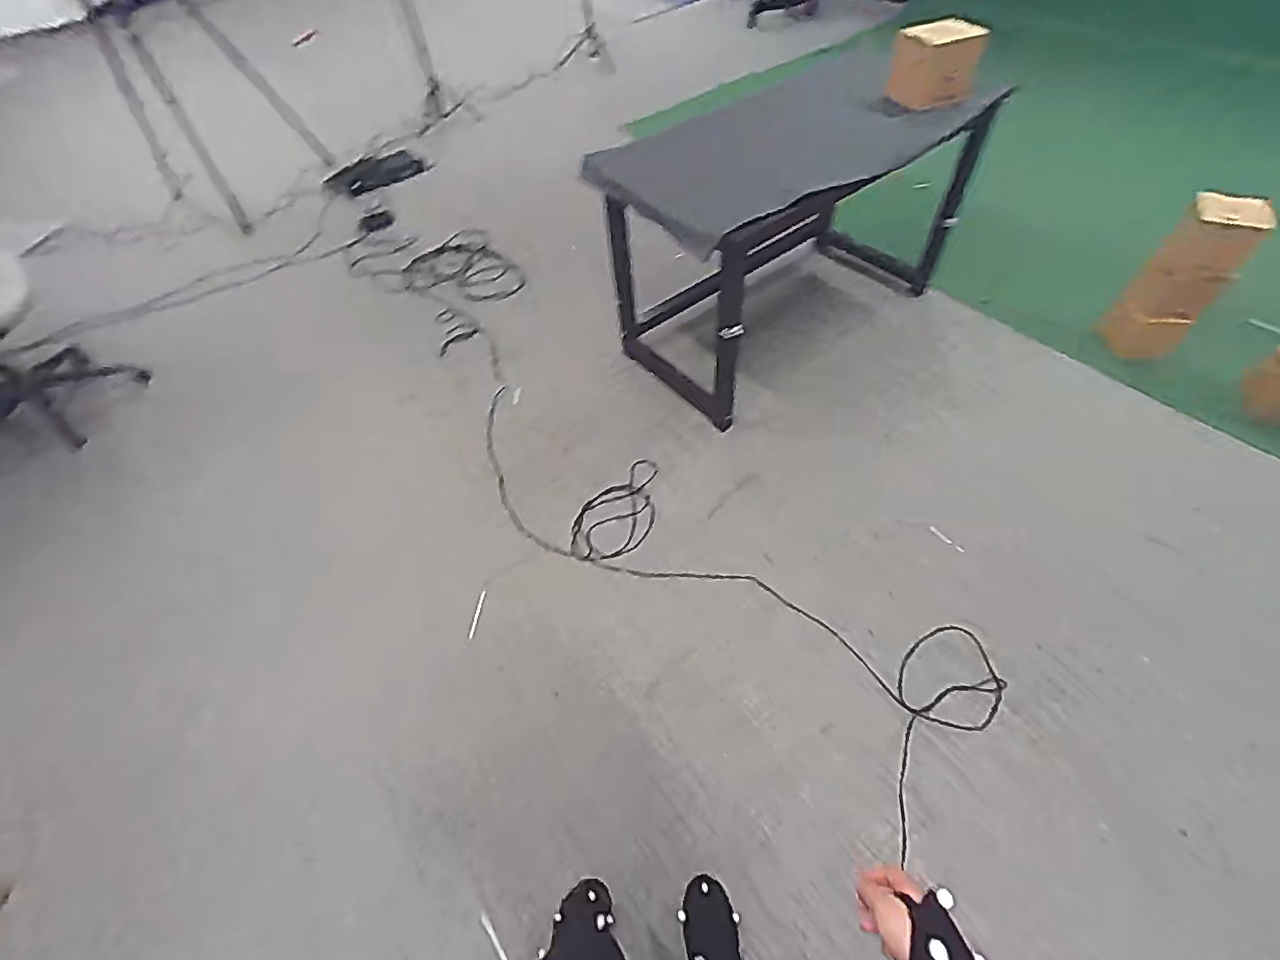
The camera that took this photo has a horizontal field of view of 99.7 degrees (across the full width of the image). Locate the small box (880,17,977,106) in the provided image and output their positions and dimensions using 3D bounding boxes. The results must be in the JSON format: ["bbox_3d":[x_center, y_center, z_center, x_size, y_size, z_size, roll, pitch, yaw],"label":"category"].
[{"bbox_3d":[0.855,-1.248,1.619,0.168,0.176,0.179,-18,52,-7],"label":"small box"}]

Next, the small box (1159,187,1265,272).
[{"bbox_3d":[1.778,-0.784,1.693,0.168,0.176,0.179,20,58,19],"label":"small box"}]

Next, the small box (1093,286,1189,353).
[{"bbox_3d":[1.795,-0.576,1.948,0.168,0.176,0.179,3,54,8],"label":"small box"}]
